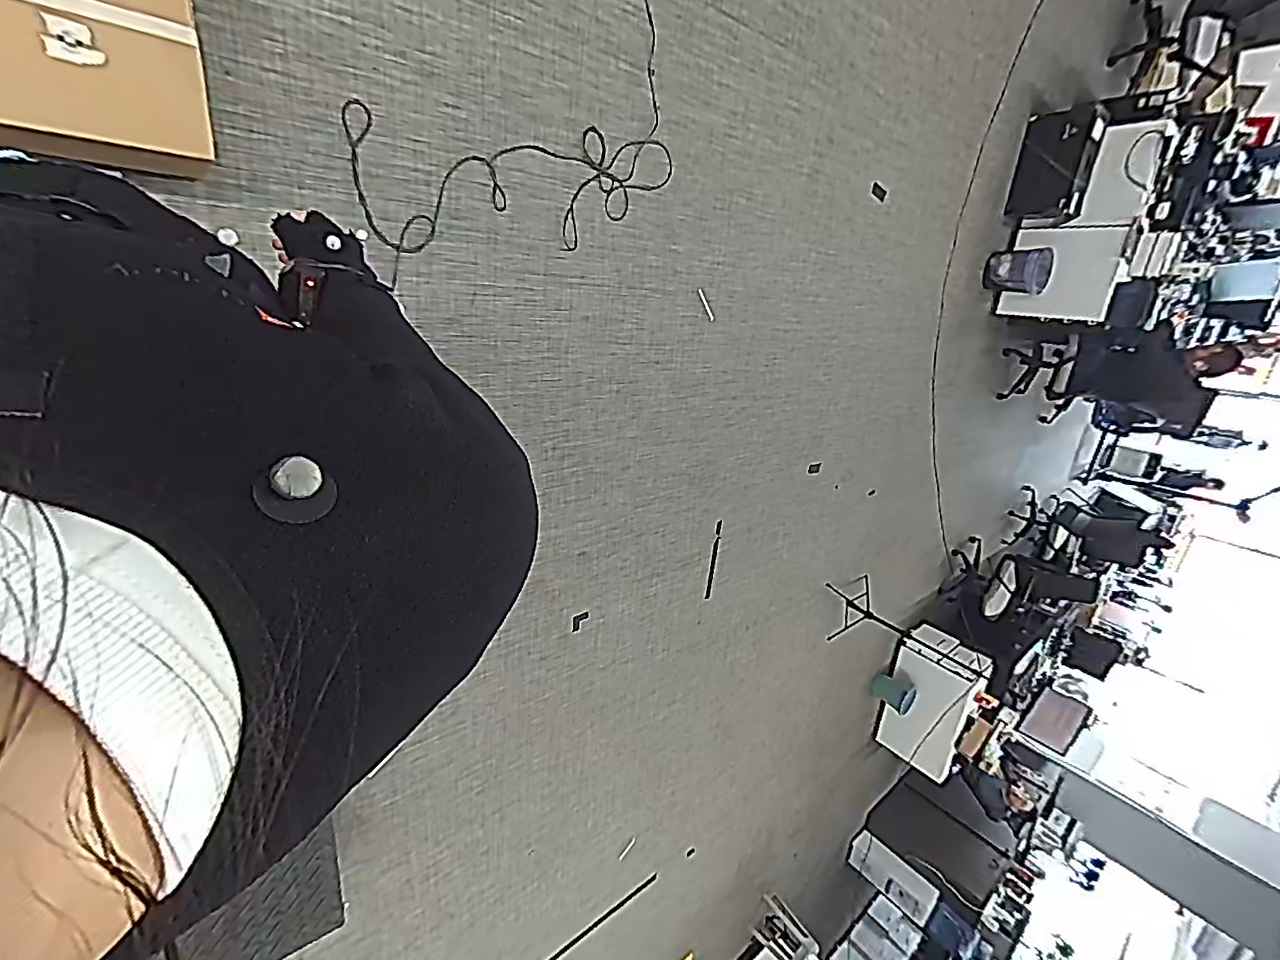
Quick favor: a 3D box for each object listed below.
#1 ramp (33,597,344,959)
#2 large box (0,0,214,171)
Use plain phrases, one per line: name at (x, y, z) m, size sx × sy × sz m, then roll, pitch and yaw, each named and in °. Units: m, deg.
ramp at (-1.055, 0.817, 1.339) m, size 0.509 × 0.206 × 0.991 m, roll -10°, pitch 114°, yaw -37°
large box at (-0.895, -0.660, 0.766) m, size 0.408 × 0.320 × 0.320 m, roll -11°, pitch 116°, yaw -39°
